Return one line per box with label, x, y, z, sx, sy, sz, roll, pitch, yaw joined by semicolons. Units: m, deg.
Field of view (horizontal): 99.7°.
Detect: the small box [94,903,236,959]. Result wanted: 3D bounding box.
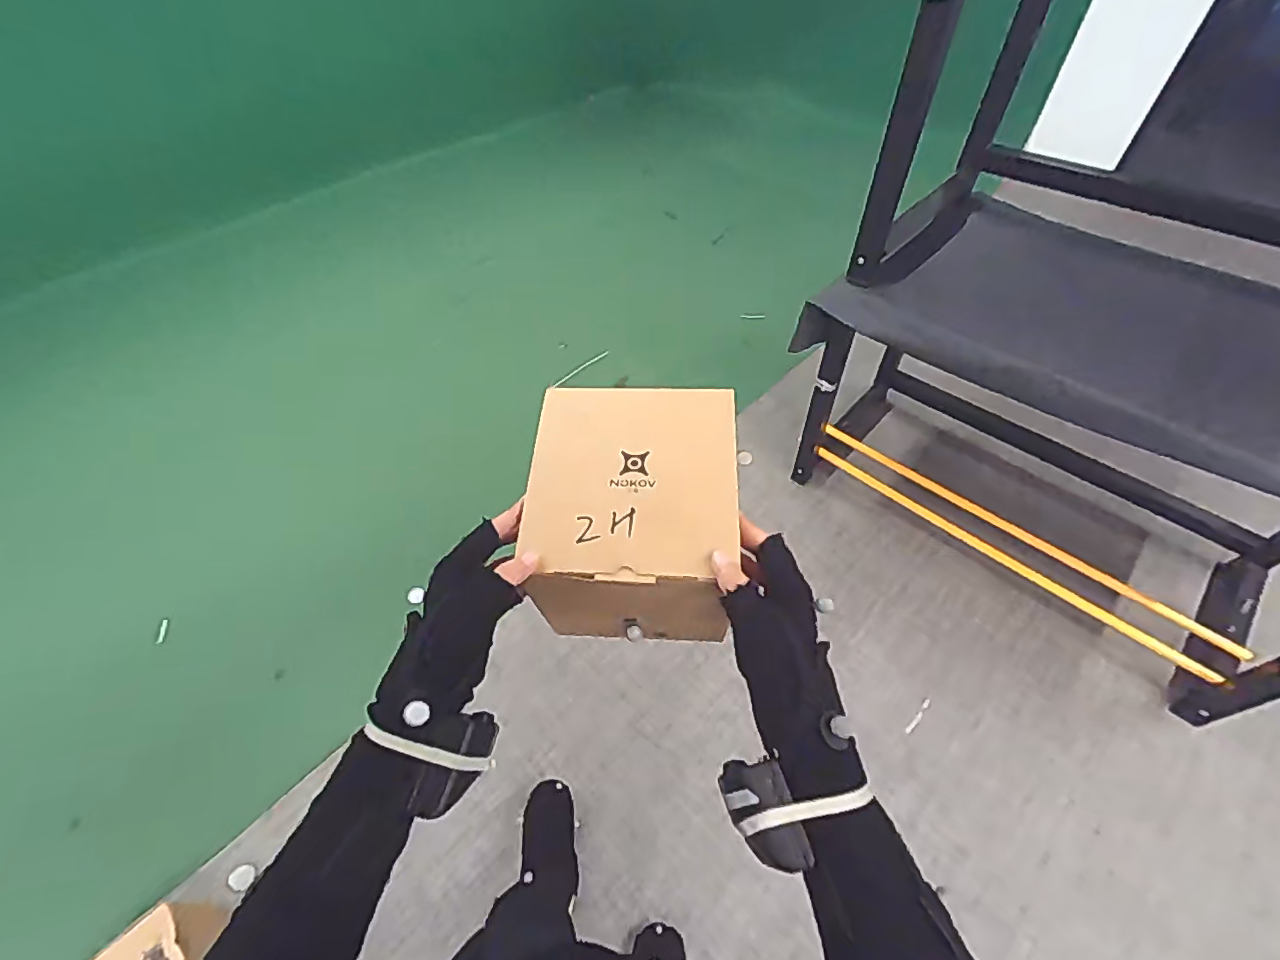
small box;-0.927;0.966;1.046;0.179;0.176;0.168;-38;59;-24
